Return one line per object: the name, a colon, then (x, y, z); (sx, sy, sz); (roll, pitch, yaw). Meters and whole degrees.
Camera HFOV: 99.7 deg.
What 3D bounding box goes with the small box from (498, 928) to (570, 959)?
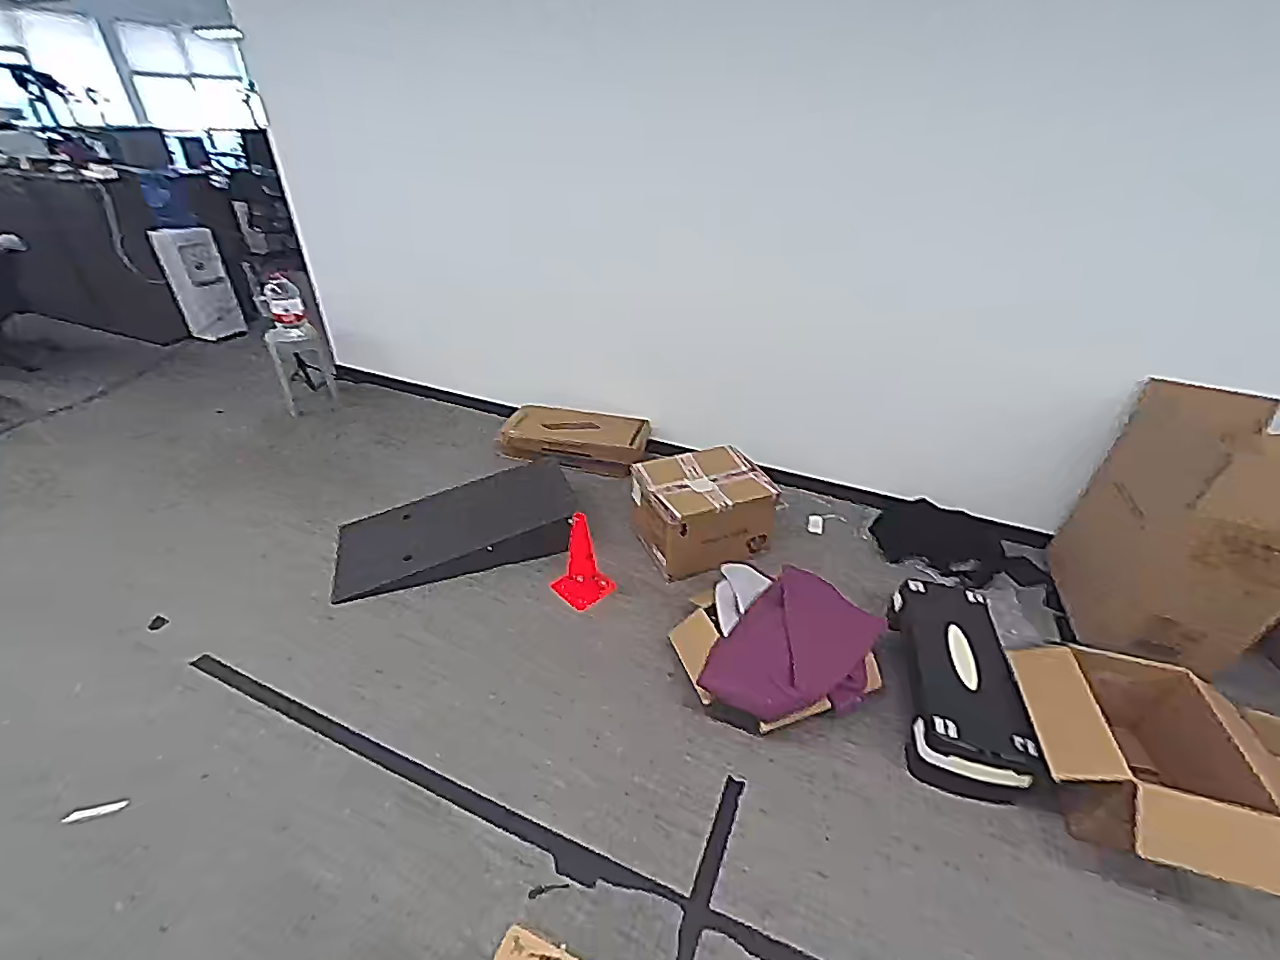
small box: (-0.187, 0.940, 0.932); (0.168, 0.176, 0.179); (14, 36, 18)
